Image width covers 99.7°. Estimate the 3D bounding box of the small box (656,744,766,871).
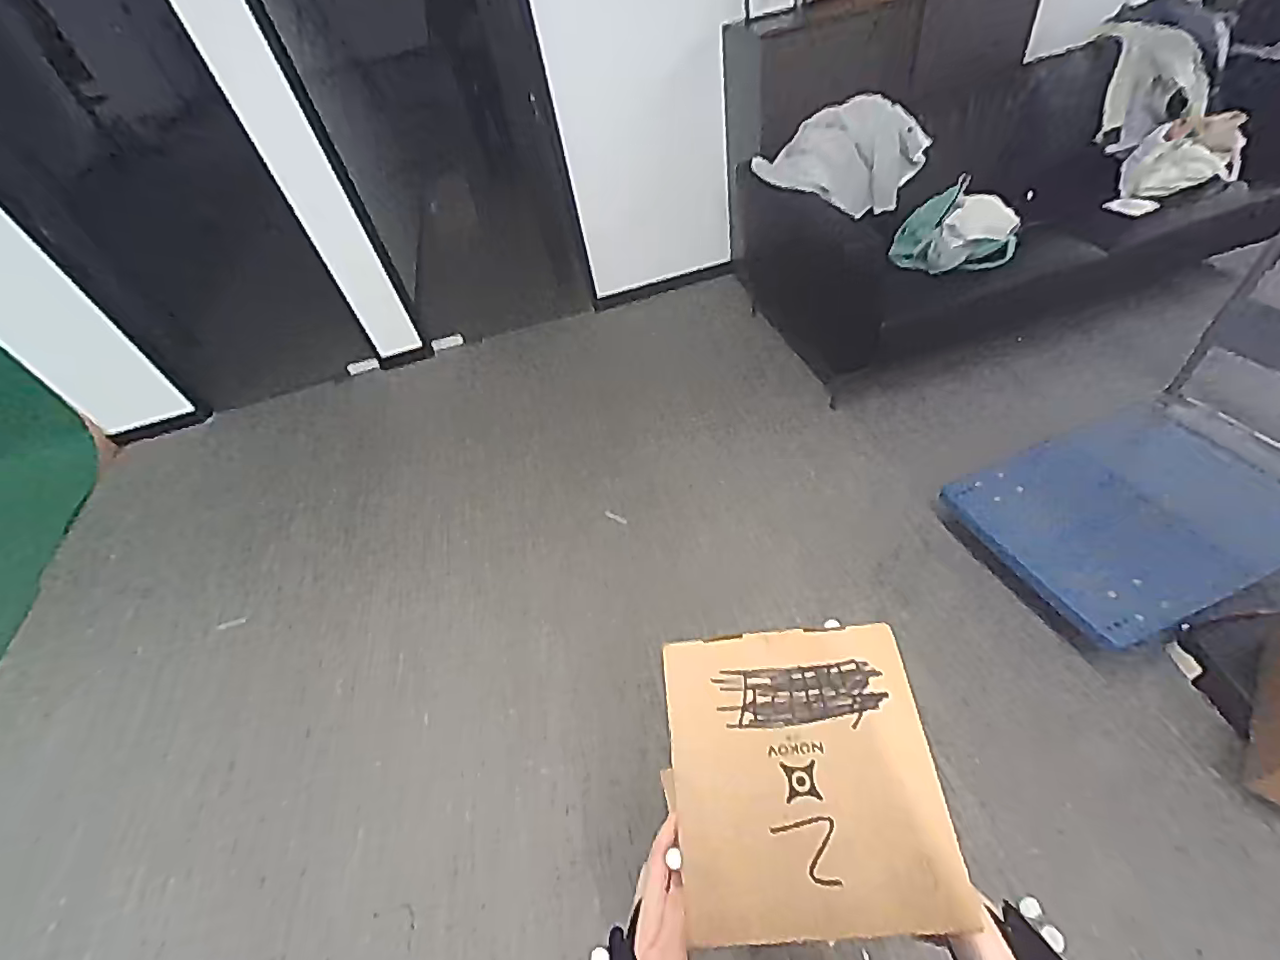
[{"bbox_3d":[0.144,0.667,1.095,0.179,0.176,0.168,-15,47,-3],"label":"small box"}]
